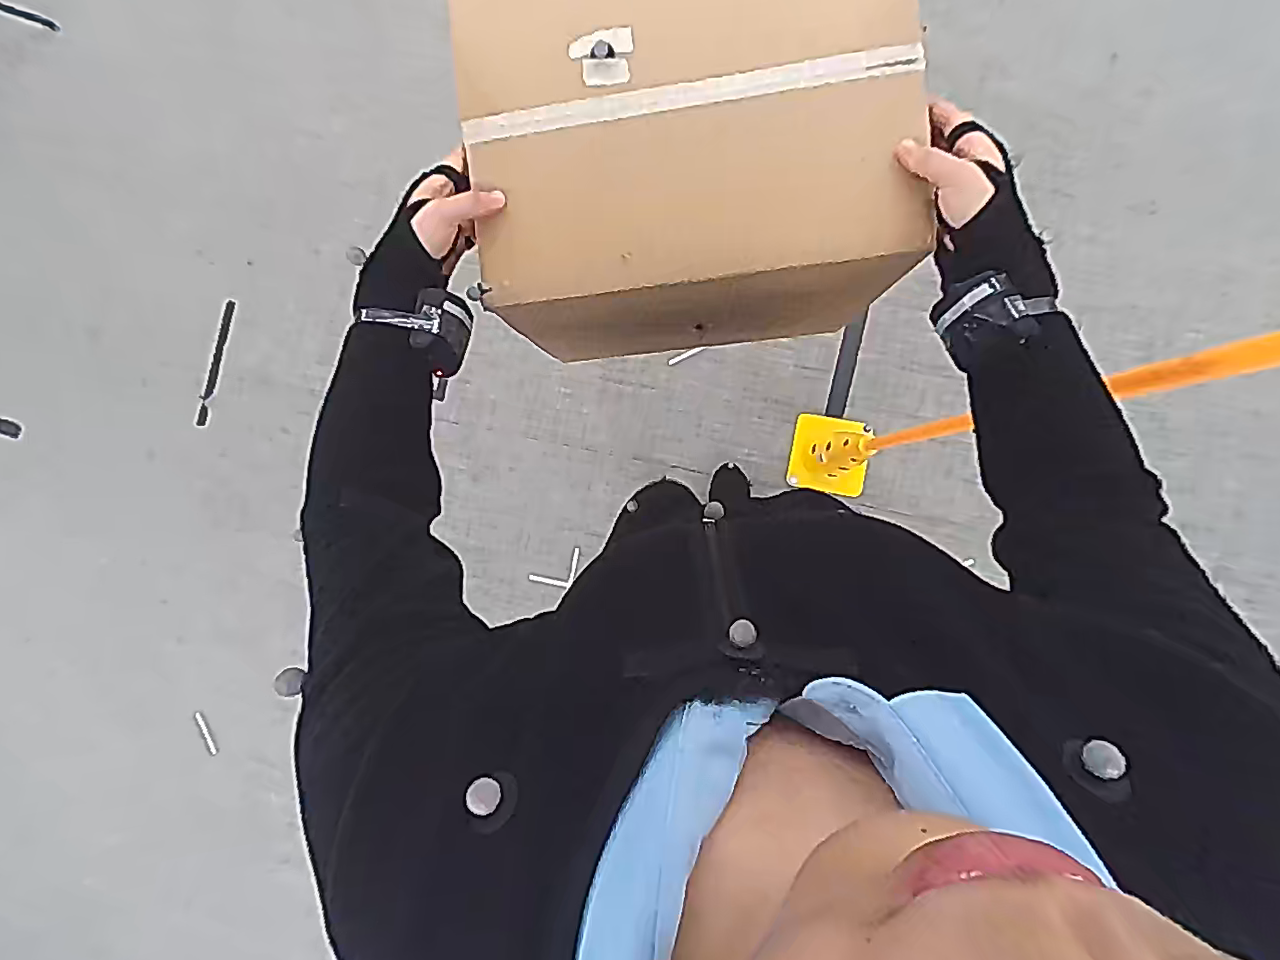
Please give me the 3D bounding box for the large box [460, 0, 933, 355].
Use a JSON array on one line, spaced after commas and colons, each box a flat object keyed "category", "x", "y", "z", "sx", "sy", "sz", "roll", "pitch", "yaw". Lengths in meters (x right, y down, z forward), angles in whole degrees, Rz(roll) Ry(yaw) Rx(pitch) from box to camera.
[{"category": "large box", "x": 0.061, "y": -0.348, "z": 0.633, "sx": 0.408, "sy": 0.320, "sz": 0.320, "roll": -6, "pitch": 91, "yaw": 7}]
